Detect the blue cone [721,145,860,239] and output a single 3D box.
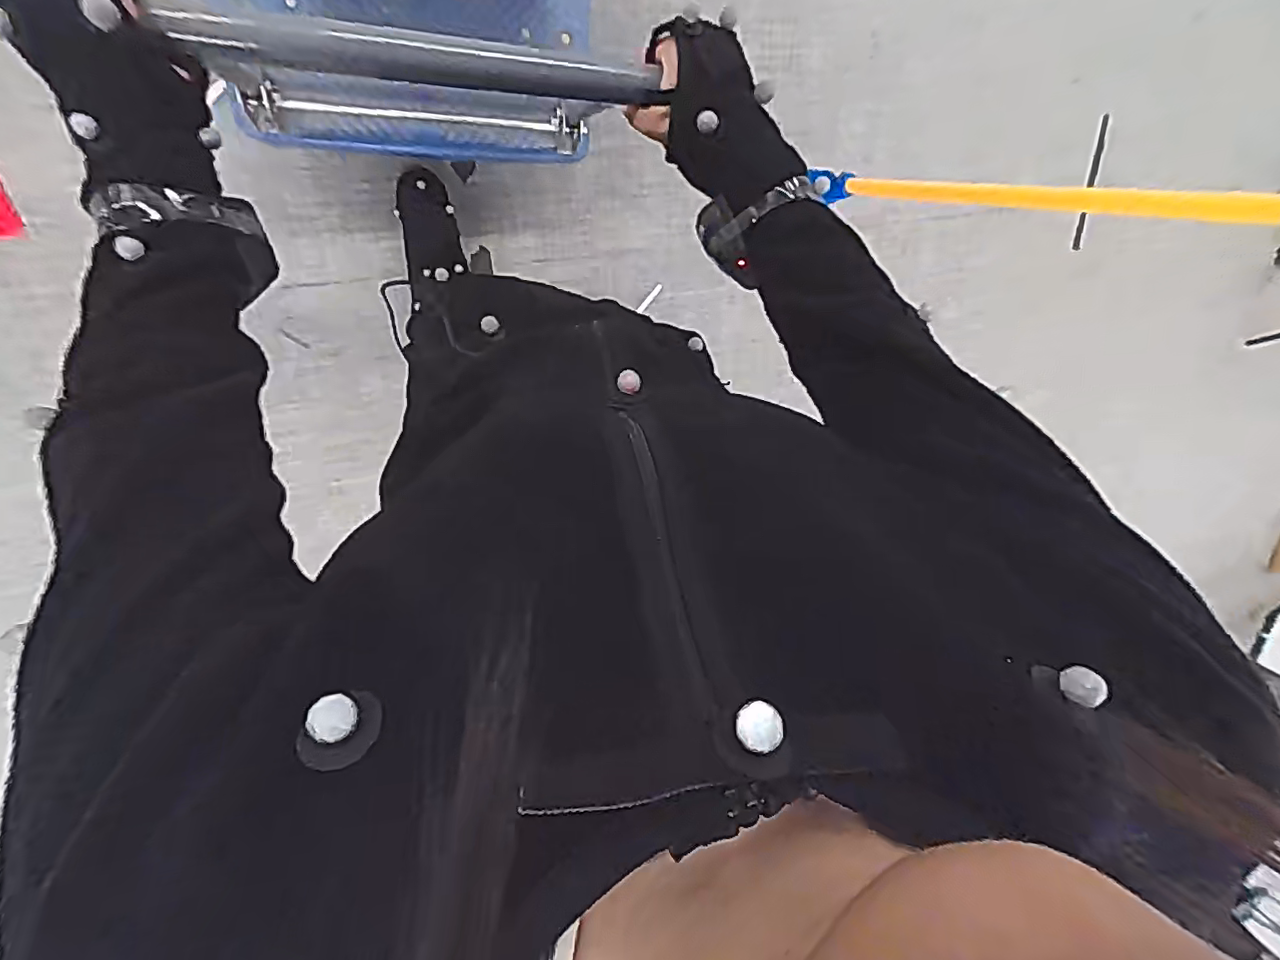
[{"bbox_3d":[0.342,-0.641,1.181,0.193,0.380,0.192,-16,117,-14],"label":"blue cone"}]
